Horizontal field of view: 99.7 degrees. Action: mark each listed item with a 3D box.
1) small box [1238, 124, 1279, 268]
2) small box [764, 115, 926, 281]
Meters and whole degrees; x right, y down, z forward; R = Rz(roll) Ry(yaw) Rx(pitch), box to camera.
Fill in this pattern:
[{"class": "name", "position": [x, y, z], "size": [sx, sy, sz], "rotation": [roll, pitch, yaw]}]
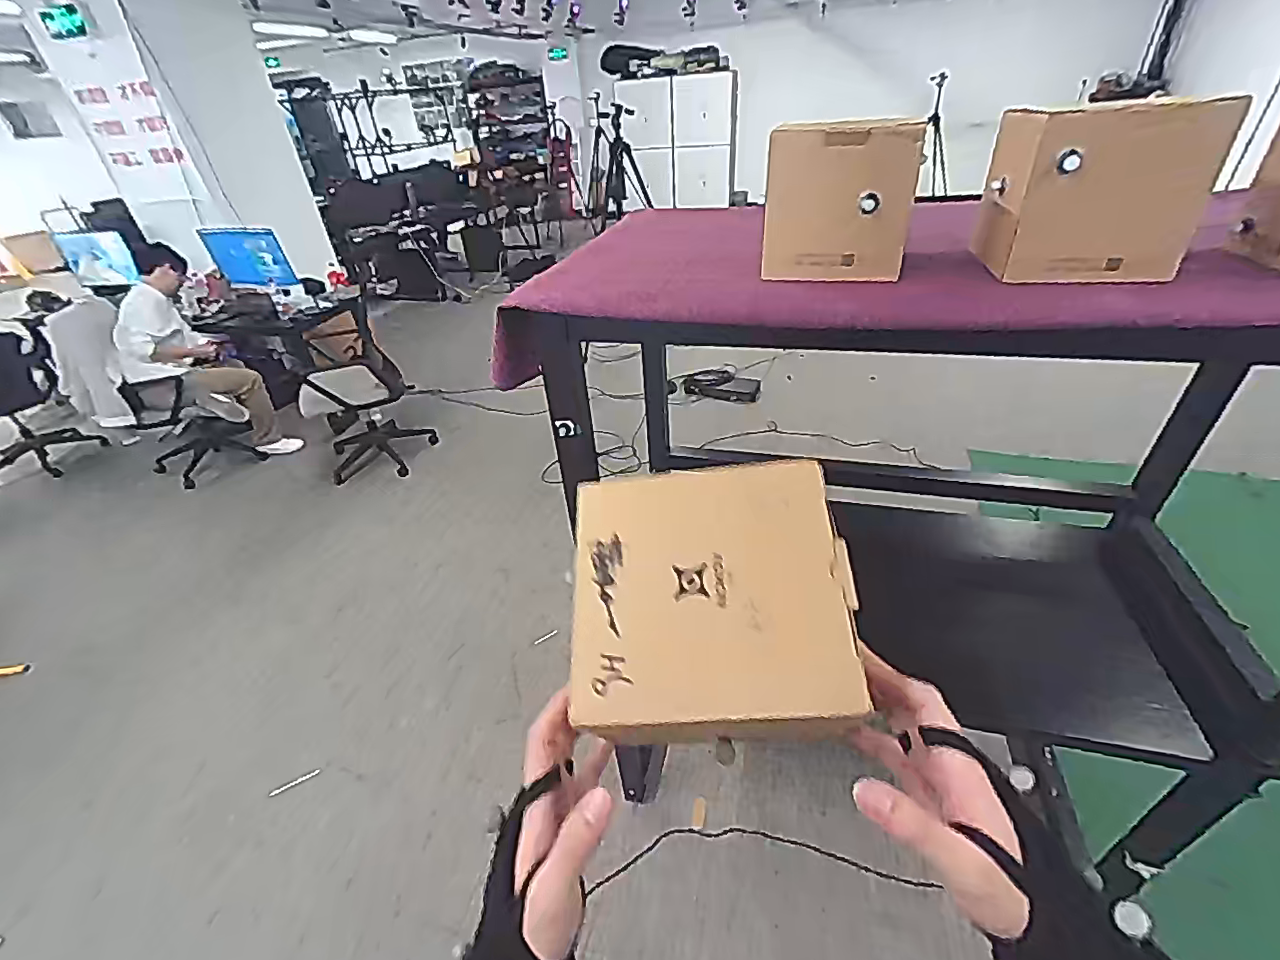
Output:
[{"class": "small box", "position": [0.786, -0.307, 0.553], "size": [0.179, 0.176, 0.168], "rotation": [6, 35, 16]}, {"class": "small box", "position": [0.257, -0.363, 0.699], "size": [0.168, 0.176, 0.179], "rotation": [8, 35, 16]}]
